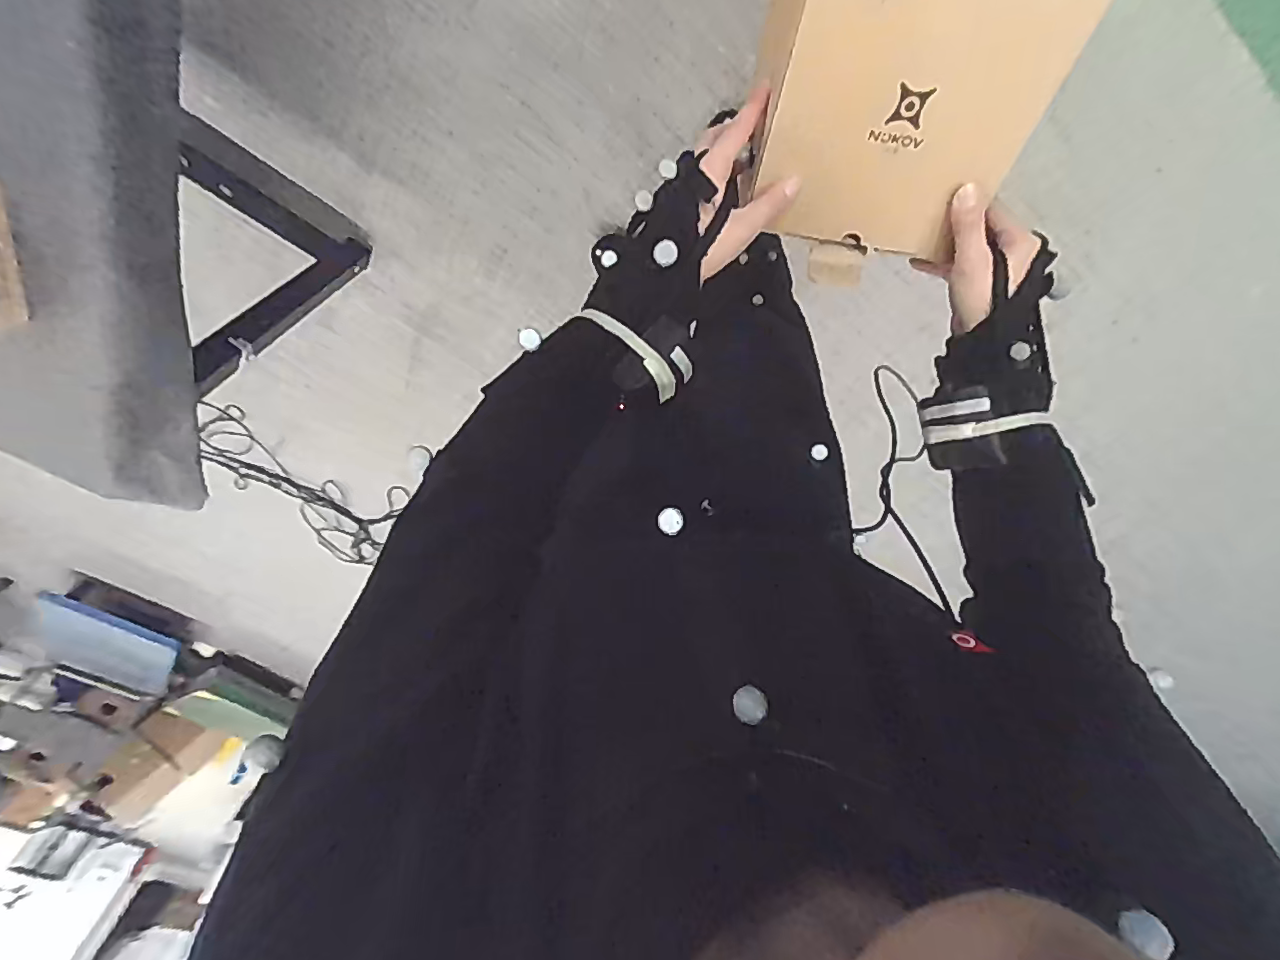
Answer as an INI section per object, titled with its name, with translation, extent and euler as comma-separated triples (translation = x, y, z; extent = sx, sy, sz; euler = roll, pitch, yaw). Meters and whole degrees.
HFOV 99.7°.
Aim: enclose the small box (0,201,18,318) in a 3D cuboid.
[small box]
translation = -0.655, -0.191, 0.407
extent = 0.179, 0.176, 0.168
euler = 30, 131, -18
